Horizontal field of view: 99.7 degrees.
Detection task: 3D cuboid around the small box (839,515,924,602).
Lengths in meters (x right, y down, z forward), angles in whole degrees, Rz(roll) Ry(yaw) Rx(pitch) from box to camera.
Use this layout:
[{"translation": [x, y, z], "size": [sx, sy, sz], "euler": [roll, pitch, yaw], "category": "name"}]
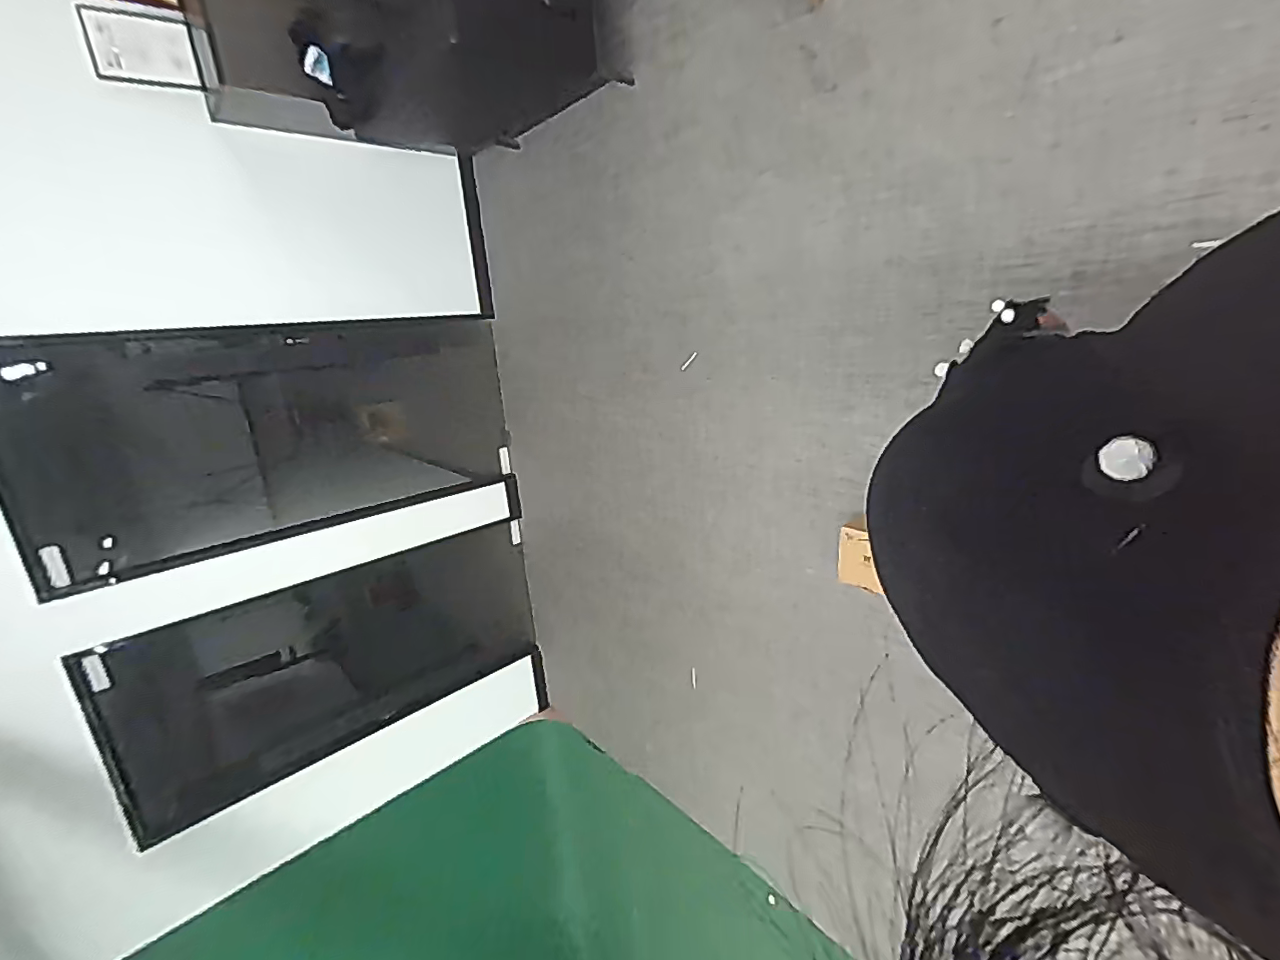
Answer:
[{"translation": [0.692, 0.218, 1.548], "size": [0.168, 0.176, 0.179], "euler": [15, 114, 47], "category": "small box"}]
